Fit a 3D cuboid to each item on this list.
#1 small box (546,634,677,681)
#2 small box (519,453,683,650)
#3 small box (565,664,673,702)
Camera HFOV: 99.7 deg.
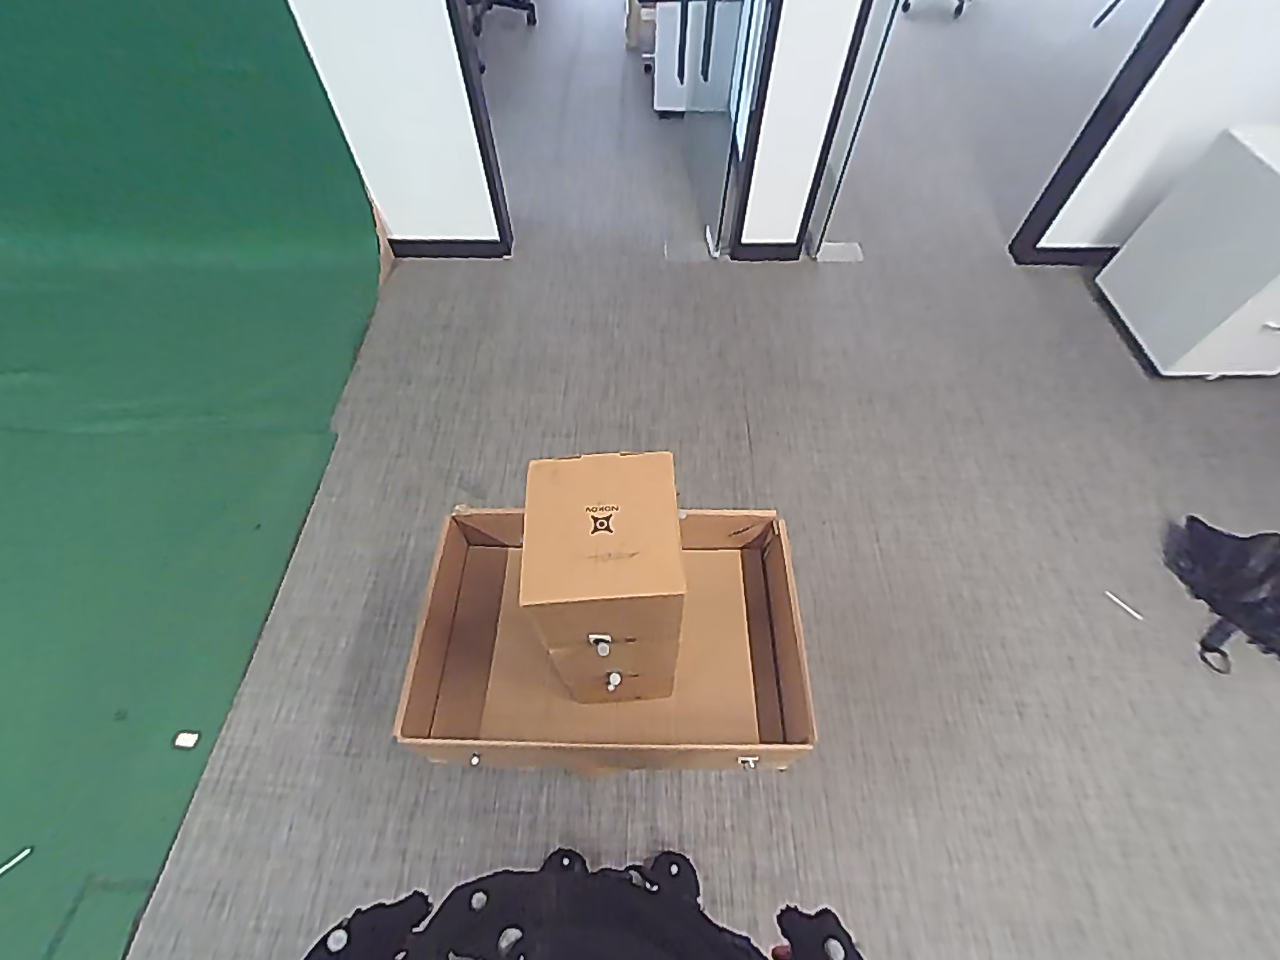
[{"bbox_3d":[-0.040,0.177,0.782,0.168,0.176,0.179,-3,57,-1],"label":"small box"},{"bbox_3d":[-0.042,0.089,0.647,0.168,0.176,0.179,-4,57,0],"label":"small box"},{"bbox_3d":[-0.035,0.264,0.921,0.168,0.176,0.179,-5,56,0],"label":"small box"}]
